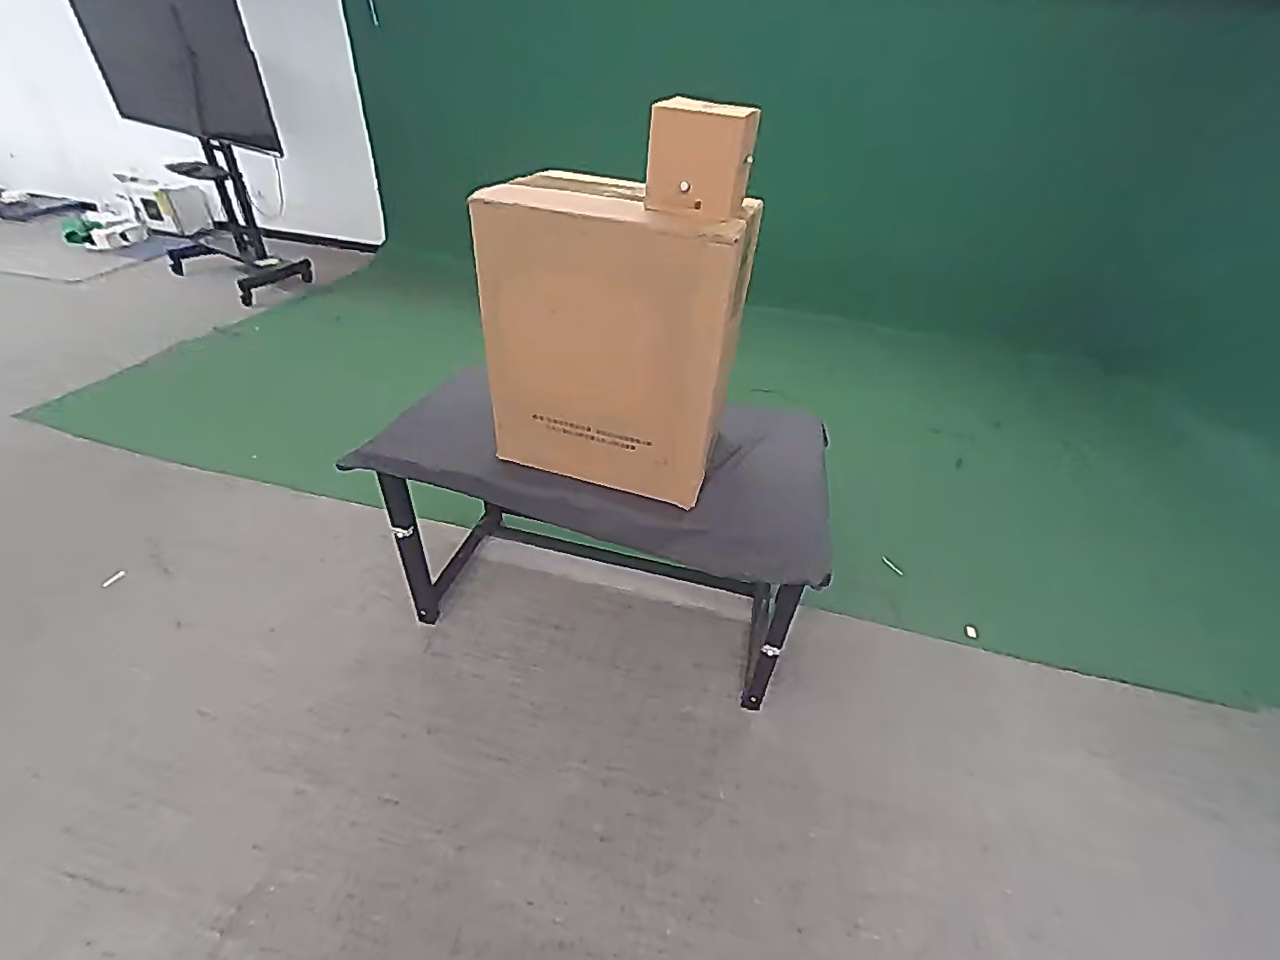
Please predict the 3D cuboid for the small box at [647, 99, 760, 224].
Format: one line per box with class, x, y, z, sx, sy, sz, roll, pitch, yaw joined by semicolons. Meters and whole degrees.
small box;0.117;-0.606;1.028;0.168;0.176;0.179;15;41;11
